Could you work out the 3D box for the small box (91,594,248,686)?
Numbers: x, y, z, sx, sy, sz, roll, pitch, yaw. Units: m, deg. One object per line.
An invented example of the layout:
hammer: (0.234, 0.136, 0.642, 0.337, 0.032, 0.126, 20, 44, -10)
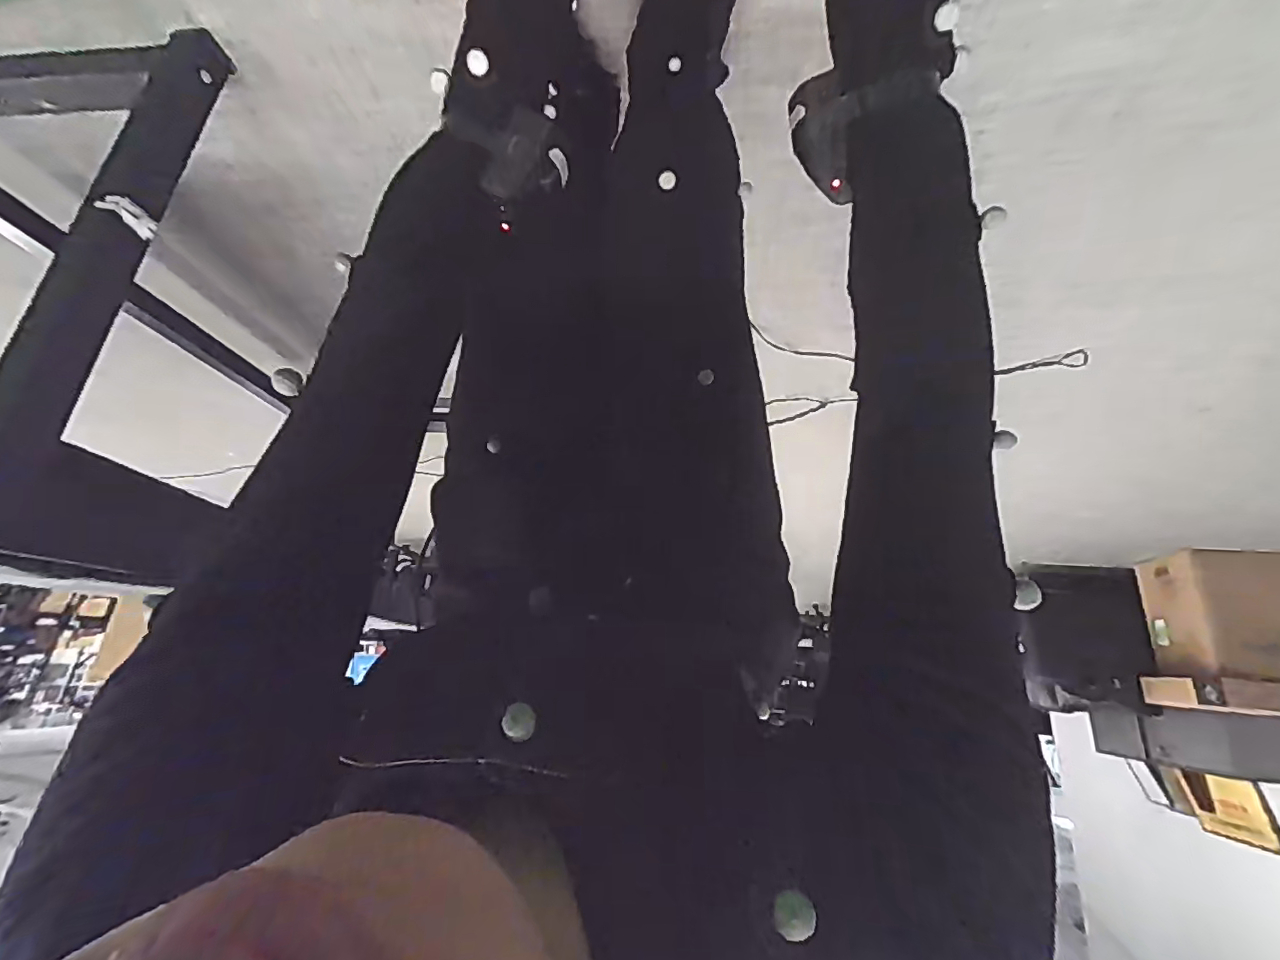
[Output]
small box: (-0.971, 0.336, 1.138, 0.179, 0.176, 0.168, 4, 161, 4)
